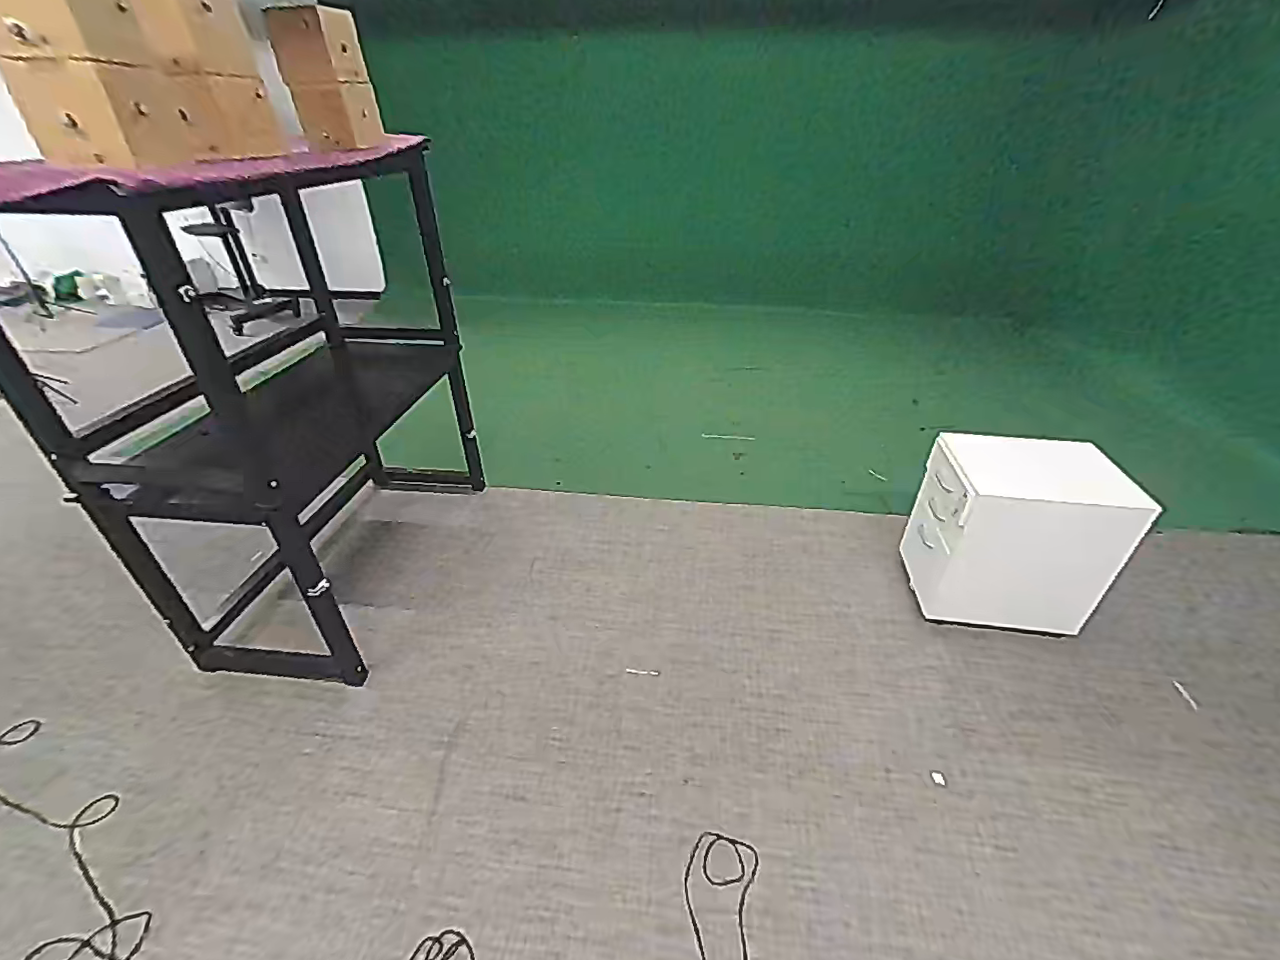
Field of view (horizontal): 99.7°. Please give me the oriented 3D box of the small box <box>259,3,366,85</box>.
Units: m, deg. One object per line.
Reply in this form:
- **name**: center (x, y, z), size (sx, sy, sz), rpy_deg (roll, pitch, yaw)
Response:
- **small box**: center (-0.924, -1.243, 1.549), size (0.179, 0.176, 0.168), rpy_deg (3, 36, 8)

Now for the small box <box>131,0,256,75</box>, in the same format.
- **small box**: center (-1.017, -1.009, 1.214), size (0.168, 0.176, 0.179), rpy_deg (3, 33, 8)

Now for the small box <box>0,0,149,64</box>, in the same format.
- **small box**: center (-1.017, -0.826, 0.940), size (0.168, 0.176, 0.179), rpy_deg (-4, 34, -4)

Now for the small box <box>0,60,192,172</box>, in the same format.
- **small box**: center (-1.016, -0.691, 1.032), size (0.168, 0.176, 0.179), rpy_deg (-1, 34, -3)

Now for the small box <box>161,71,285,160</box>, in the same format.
- **small box**: center (-1.008, -0.872, 1.304), size (0.168, 0.176, 0.179), rpy_deg (3, 34, 7)
